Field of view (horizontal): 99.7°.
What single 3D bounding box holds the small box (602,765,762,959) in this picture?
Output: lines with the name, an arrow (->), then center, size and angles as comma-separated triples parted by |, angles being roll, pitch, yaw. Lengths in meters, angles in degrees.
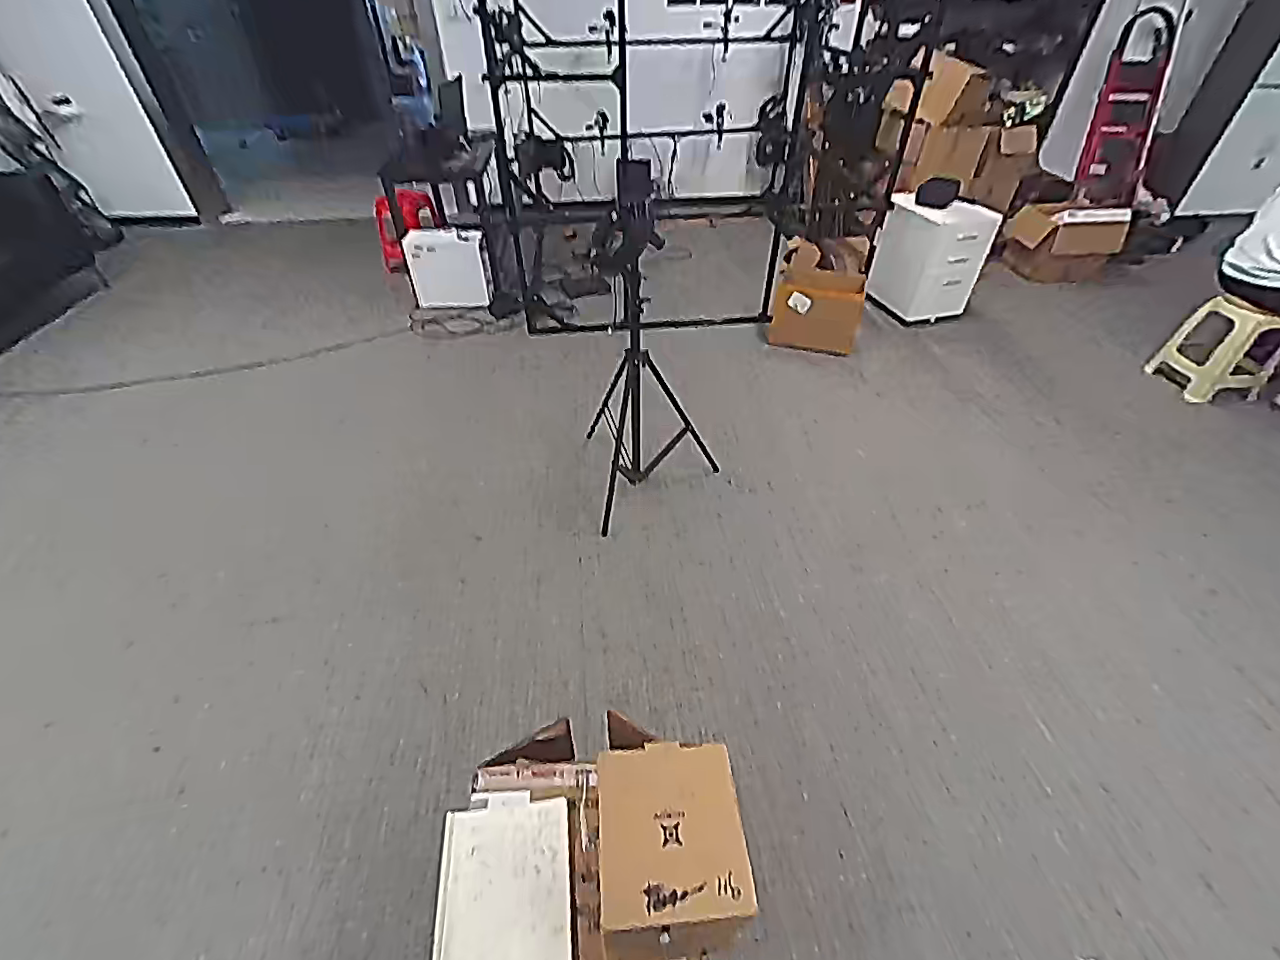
small box -> 0.037, 0.481, 0.669 | 0.168, 0.176, 0.179 | -2, 43, -5
